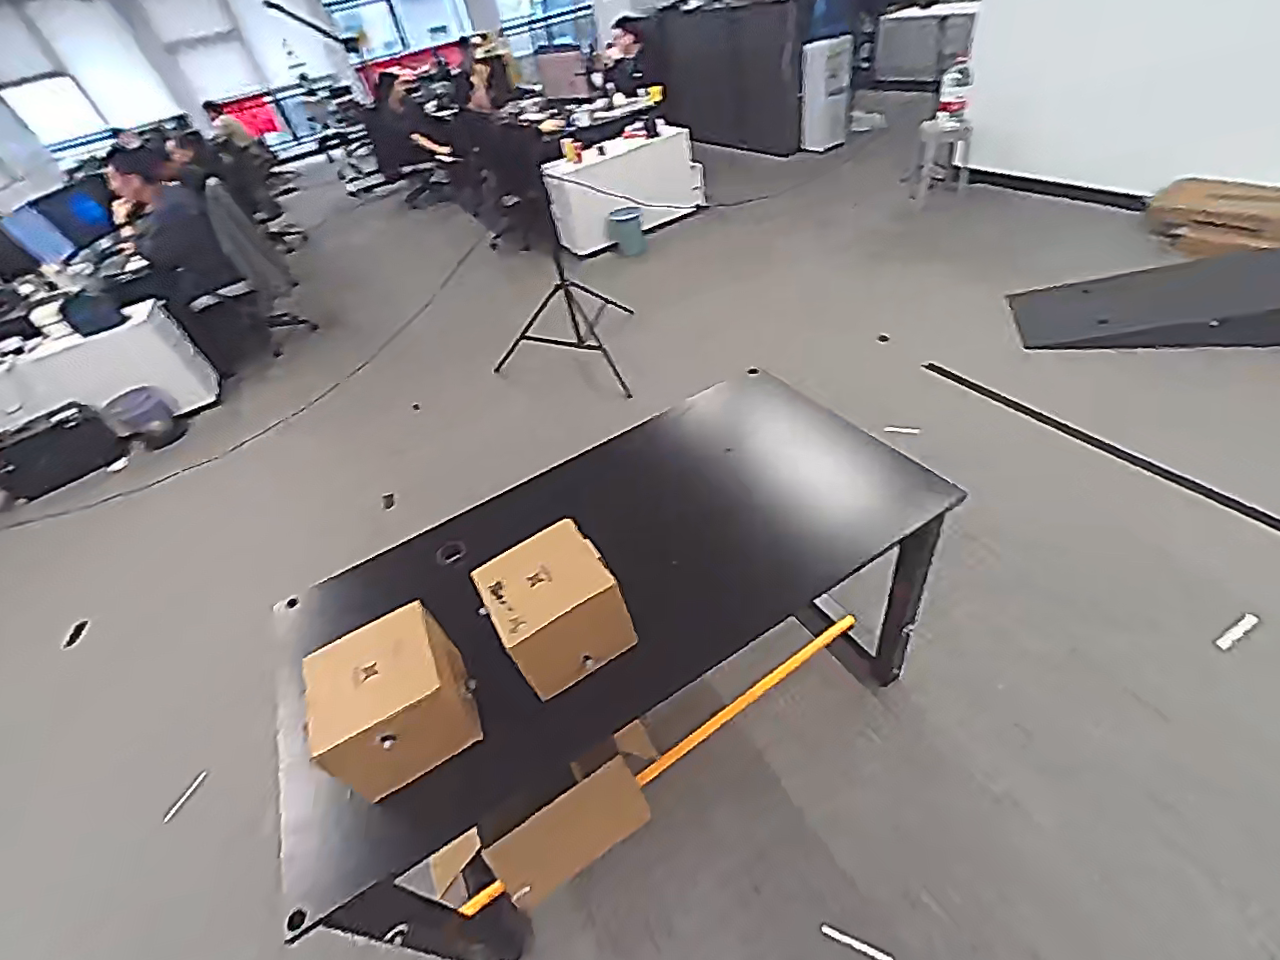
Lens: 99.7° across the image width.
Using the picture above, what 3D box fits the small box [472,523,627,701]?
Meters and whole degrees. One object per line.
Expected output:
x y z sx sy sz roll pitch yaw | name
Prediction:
-0.133 0.206 0.851 0.179 0.176 0.168 -29 44 -16 | small box

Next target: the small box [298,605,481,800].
-0.359 0.325 0.787 0.179 0.176 0.168 -27 45 -15 | small box
